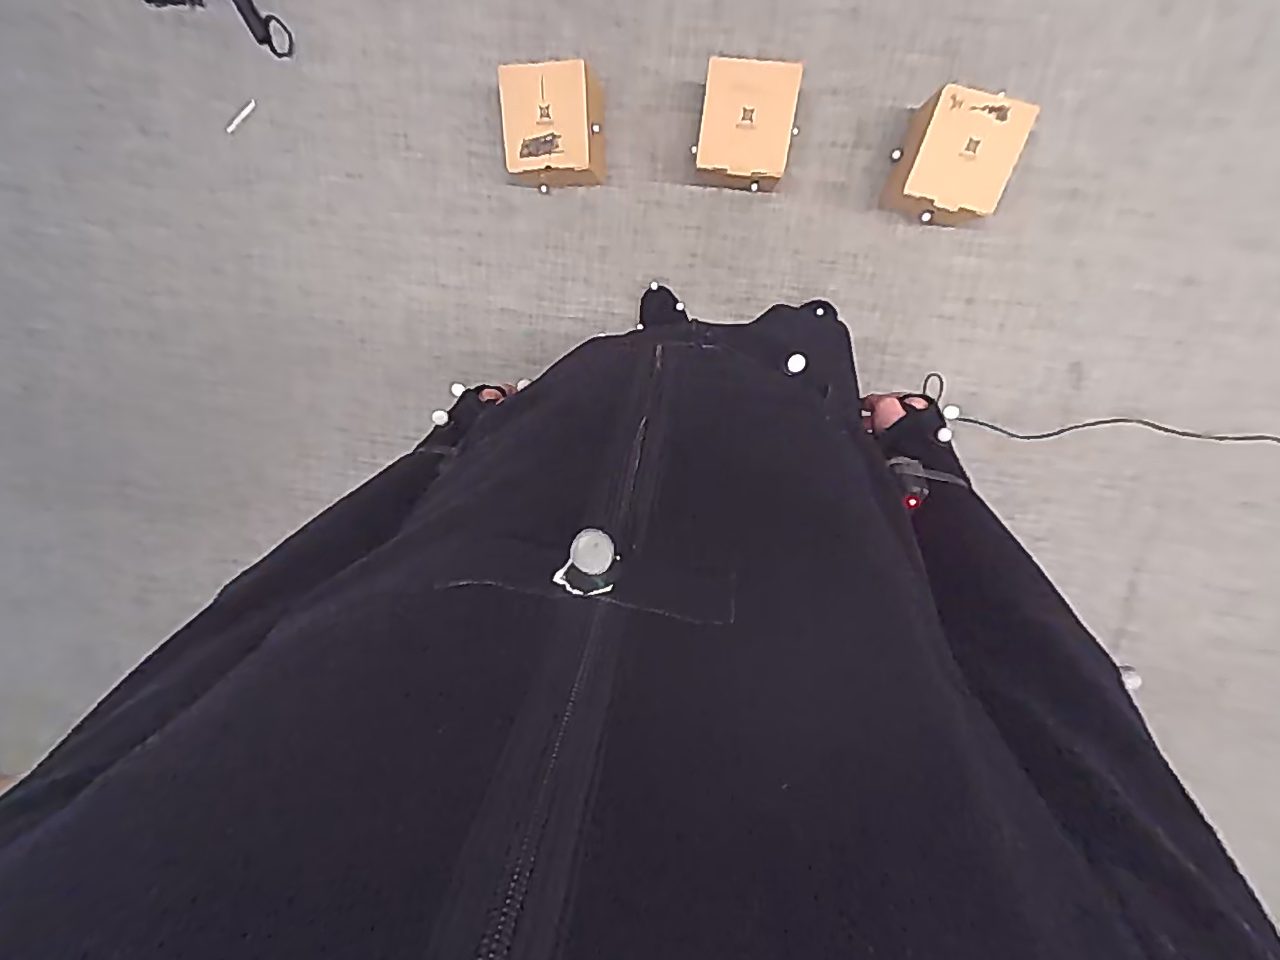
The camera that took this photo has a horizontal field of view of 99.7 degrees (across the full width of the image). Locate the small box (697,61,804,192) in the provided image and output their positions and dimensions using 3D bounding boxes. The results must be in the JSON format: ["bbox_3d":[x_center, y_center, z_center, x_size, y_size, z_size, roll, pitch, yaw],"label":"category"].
[{"bbox_3d":[0.206,-0.670,1.045,0.168,0.176,0.179,8,109,4],"label":"small box"}]

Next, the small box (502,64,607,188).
[{"bbox_3d":[-0.162,-0.696,1.086,0.168,0.176,0.179,1,108,7],"label":"small box"}]

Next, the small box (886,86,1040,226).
[{"bbox_3d":[0.587,-0.593,1.015,0.168,0.176,0.179,17,112,3],"label":"small box"}]
